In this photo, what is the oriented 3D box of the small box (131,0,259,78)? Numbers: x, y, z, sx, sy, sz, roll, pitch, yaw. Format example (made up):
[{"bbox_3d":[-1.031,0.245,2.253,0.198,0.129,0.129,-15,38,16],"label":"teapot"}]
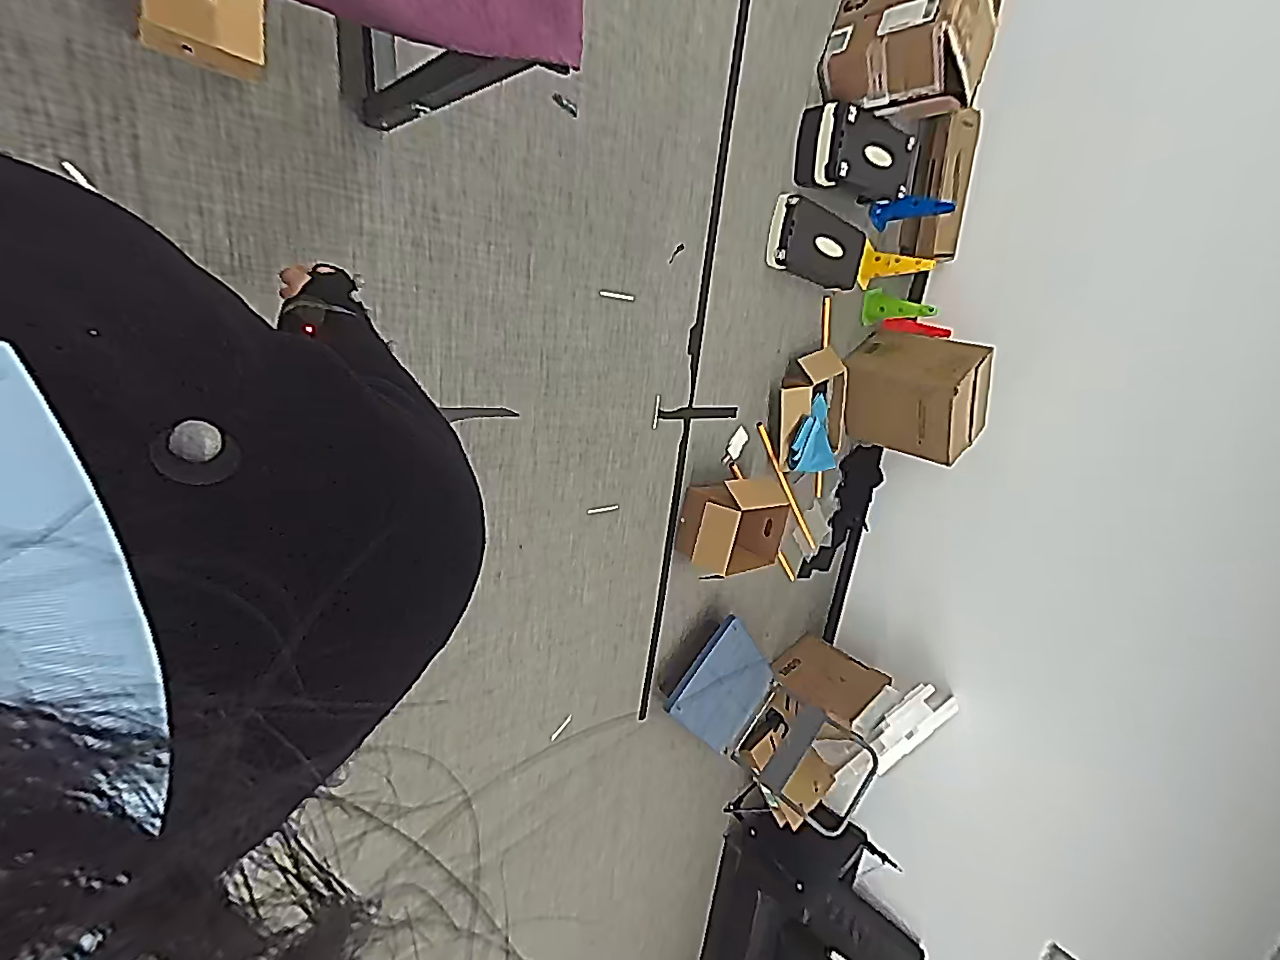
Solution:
[{"bbox_3d":[-0.791,-0.858,0.961,0.168,0.176,0.179,-5,110,-44],"label":"small box"}]
